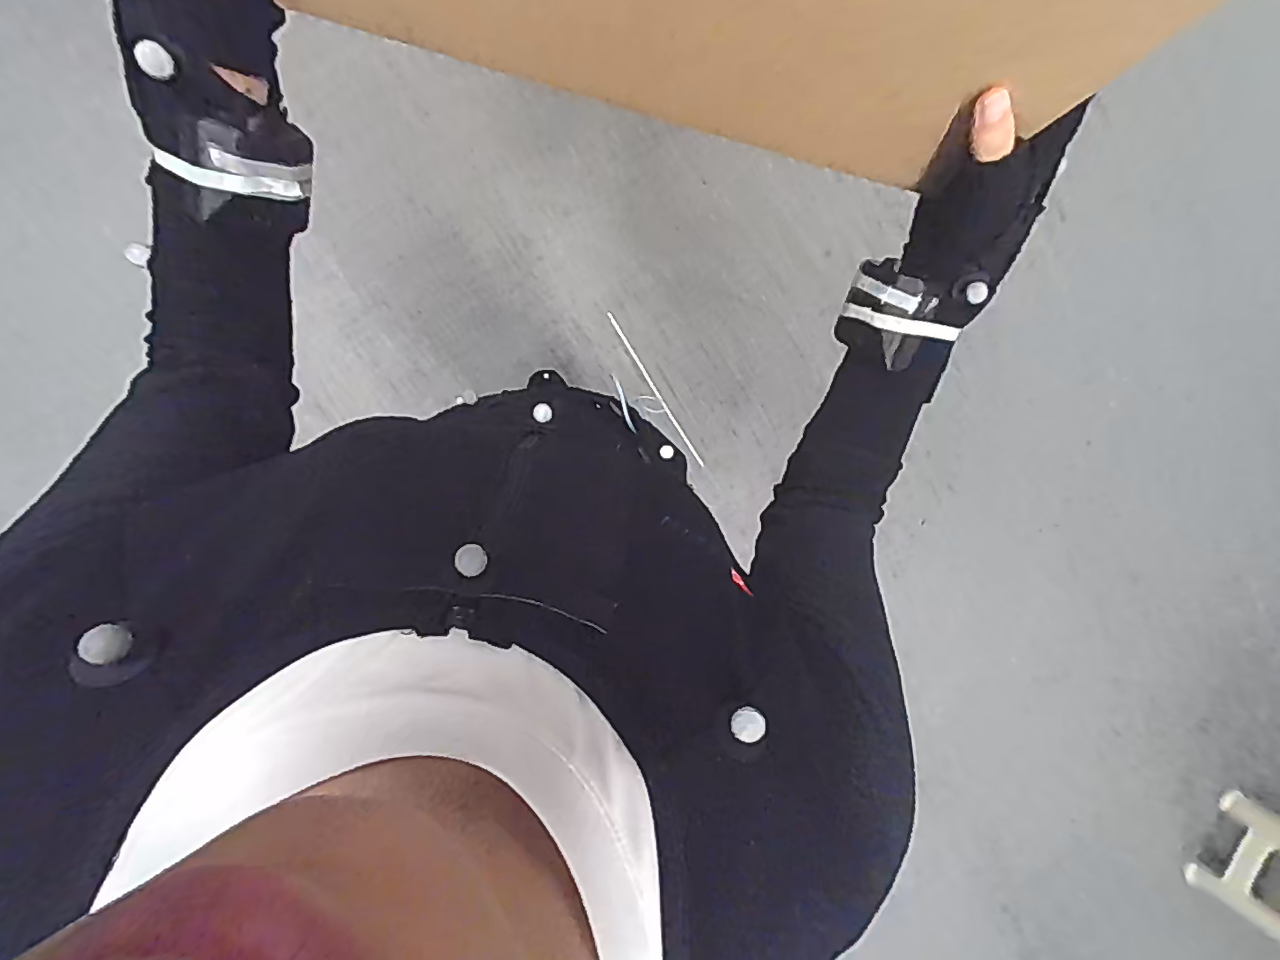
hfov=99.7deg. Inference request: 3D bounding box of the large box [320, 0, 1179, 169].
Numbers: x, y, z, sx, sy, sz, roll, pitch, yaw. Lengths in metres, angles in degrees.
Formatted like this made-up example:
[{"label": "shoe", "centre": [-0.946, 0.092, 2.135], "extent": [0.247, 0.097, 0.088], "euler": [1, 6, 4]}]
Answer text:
[{"label": "large box", "centre": [0.056, -0.370, 0.171], "extent": [0.408, 0.320, 0.320], "euler": [8, 90, -12]}]
